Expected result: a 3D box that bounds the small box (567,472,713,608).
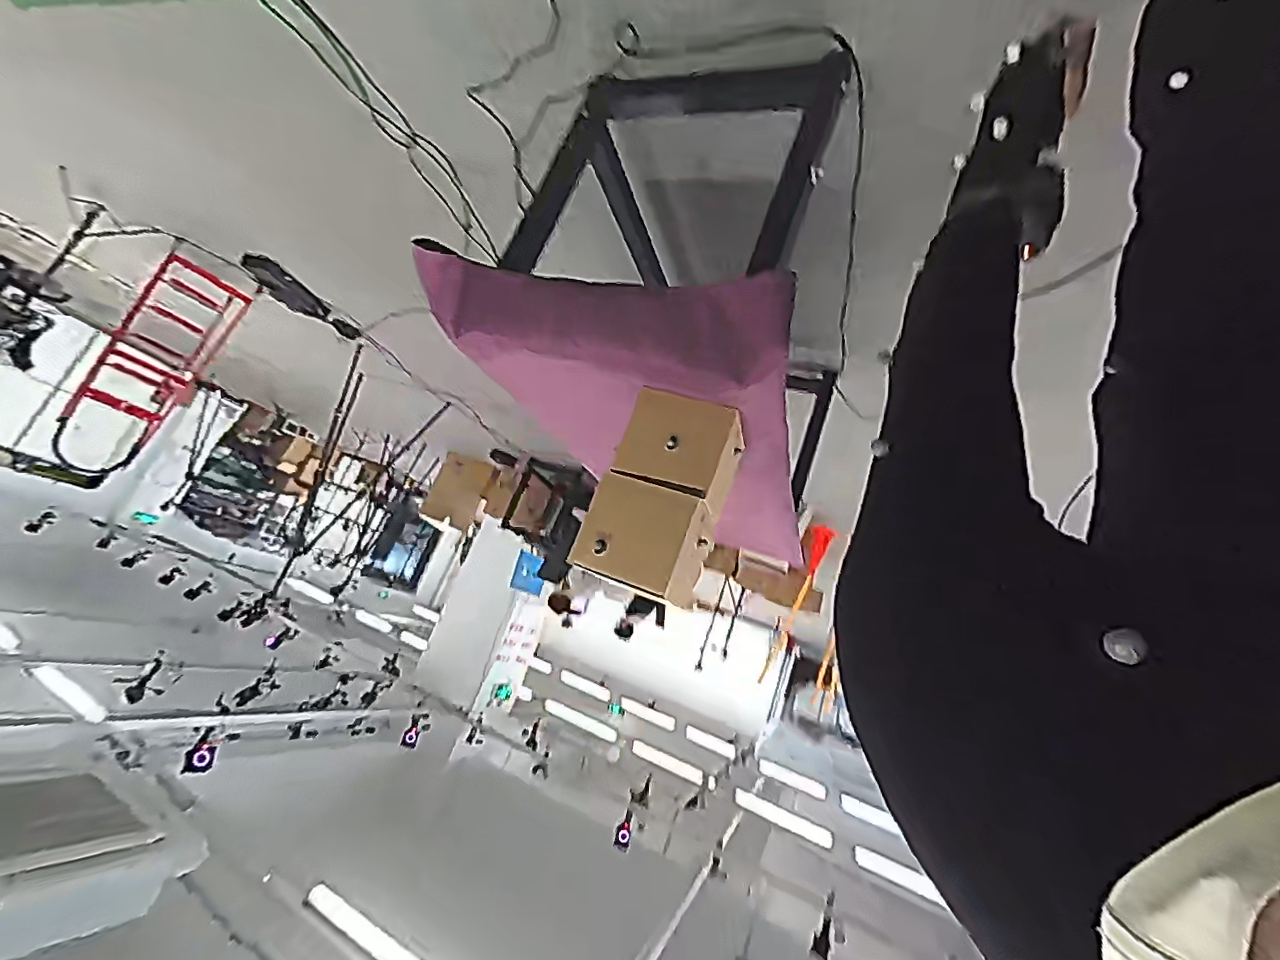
[{"bbox_3d":[0.008,0.101,0.927,0.179,0.176,0.168,17,166,21],"label":"small box"}]
